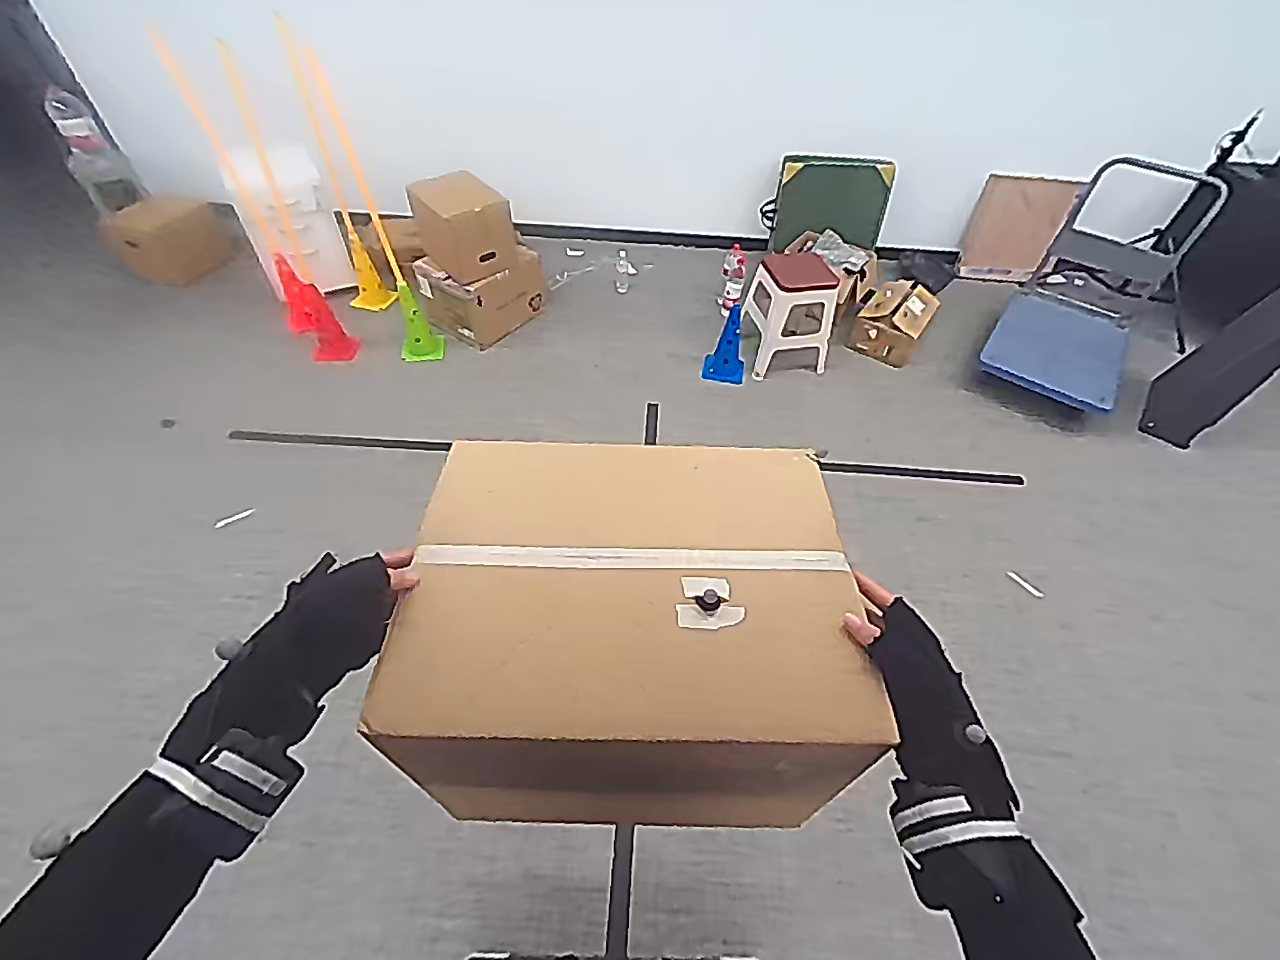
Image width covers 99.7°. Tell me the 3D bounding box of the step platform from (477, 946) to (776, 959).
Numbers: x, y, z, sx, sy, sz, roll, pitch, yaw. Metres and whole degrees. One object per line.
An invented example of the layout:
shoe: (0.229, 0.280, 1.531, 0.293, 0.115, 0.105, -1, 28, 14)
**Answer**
step platform: (-0.026, 1.141, 1.097, 0.684, 0.204, 0.286, 3, 49, -2)

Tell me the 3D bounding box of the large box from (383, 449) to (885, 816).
large box: (-0.009, 0.182, 0.629, 0.408, 0.320, 0.320, 2, 48, -1)
